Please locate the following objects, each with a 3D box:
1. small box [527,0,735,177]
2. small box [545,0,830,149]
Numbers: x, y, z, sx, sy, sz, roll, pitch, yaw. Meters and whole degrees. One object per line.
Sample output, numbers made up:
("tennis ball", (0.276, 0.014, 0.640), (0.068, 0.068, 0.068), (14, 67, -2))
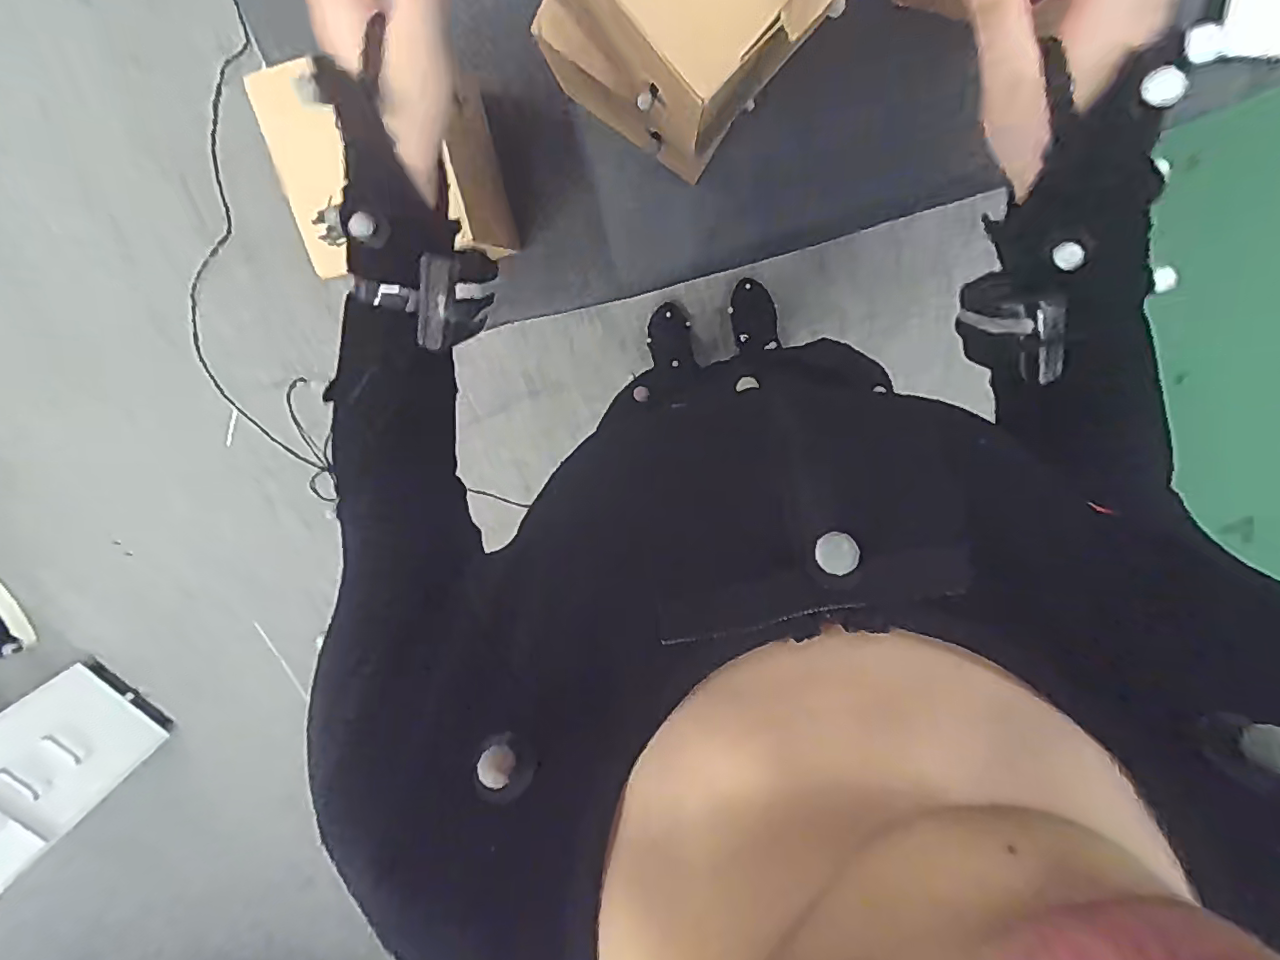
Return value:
("small box", (0.024, -0.417, 0.514), (0.179, 0.176, 0.168), (32, 109, -8))
("small box", (0.033, -0.358, 0.361), (0.179, 0.176, 0.168), (43, 106, -11))
